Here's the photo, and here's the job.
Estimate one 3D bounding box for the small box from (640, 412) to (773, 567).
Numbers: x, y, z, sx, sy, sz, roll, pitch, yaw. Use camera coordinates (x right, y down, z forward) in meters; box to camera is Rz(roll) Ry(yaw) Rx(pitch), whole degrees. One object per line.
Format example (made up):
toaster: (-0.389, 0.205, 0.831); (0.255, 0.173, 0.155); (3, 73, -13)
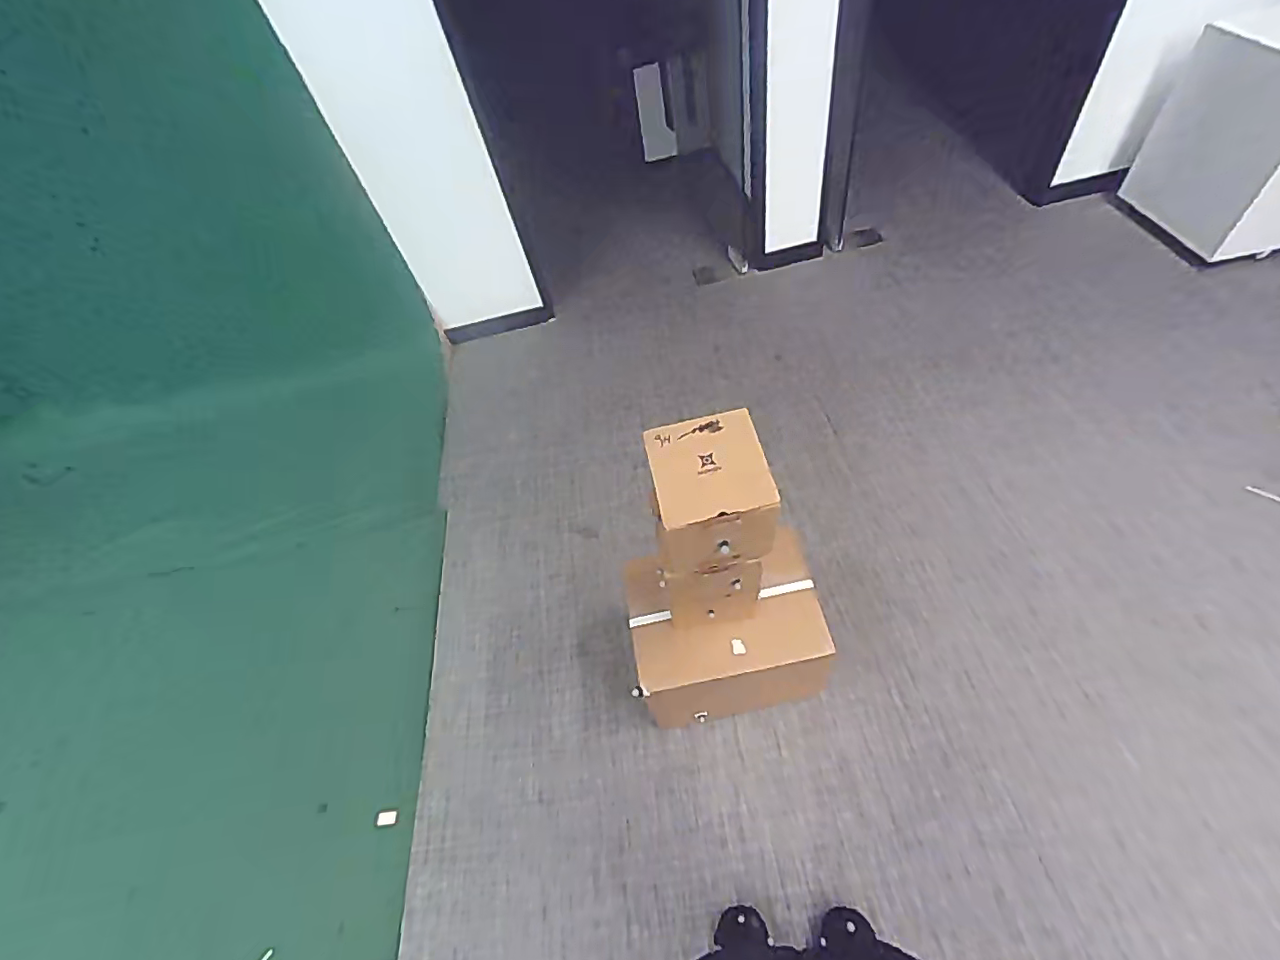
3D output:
small box: (0.104, 0.025, 0.855); (0.168, 0.176, 0.179); (-13, 59, 2)

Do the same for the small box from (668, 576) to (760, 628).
small box: (0.140, 0.196, 1.130); (0.179, 0.176, 0.168); (-12, 59, 2)

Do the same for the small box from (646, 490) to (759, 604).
small box: (0.114, 0.115, 0.991); (0.168, 0.176, 0.179); (-12, 57, 2)
